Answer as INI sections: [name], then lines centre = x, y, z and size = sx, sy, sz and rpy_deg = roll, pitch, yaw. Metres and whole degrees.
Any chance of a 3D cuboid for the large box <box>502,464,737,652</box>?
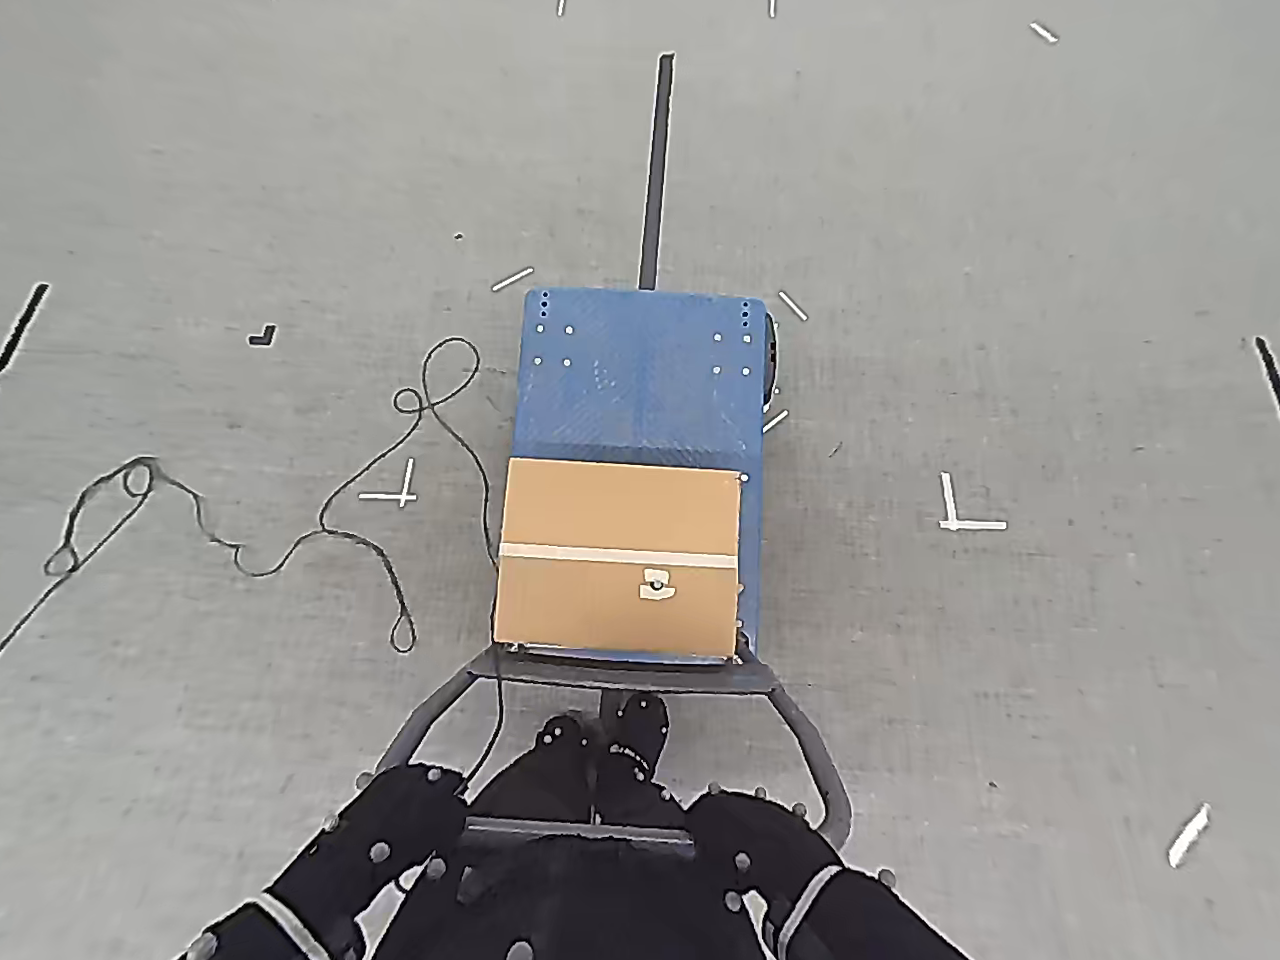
[large box]
centre = -0.036, 0.154, 1.087
size = 0.408, 0.320, 0.320
rpy_deg = 4, 83, 0
